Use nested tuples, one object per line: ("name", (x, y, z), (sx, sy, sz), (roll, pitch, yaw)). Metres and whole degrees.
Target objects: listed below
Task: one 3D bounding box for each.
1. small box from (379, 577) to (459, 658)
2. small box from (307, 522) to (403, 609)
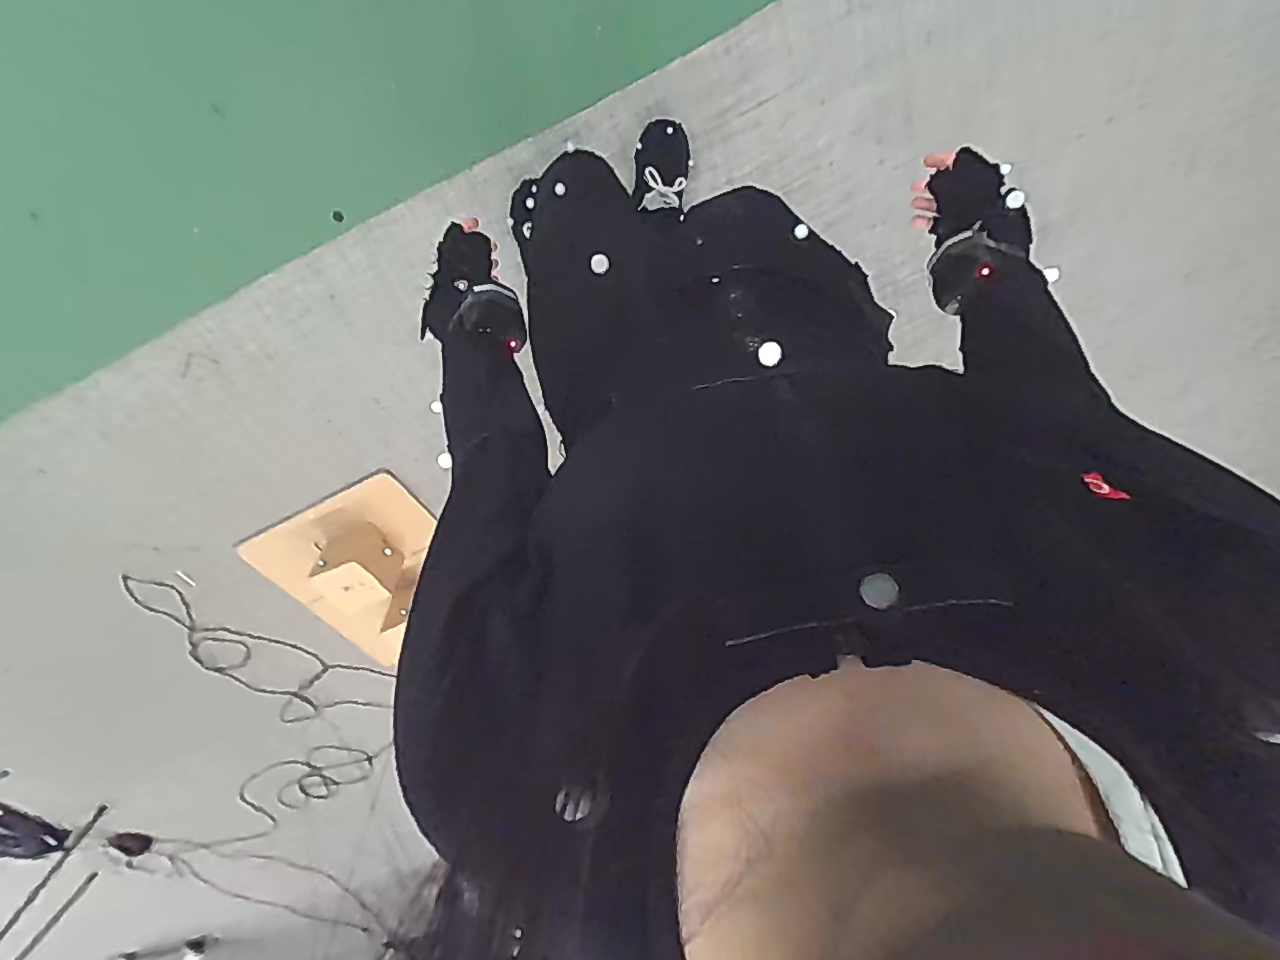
("small box", (-0.725, 0.454, 1.804), (0.179, 0.176, 0.168), (-26, 124, 13))
("small box", (-0.863, 0.260, 1.657), (0.179, 0.176, 0.168), (-21, 125, 8))
